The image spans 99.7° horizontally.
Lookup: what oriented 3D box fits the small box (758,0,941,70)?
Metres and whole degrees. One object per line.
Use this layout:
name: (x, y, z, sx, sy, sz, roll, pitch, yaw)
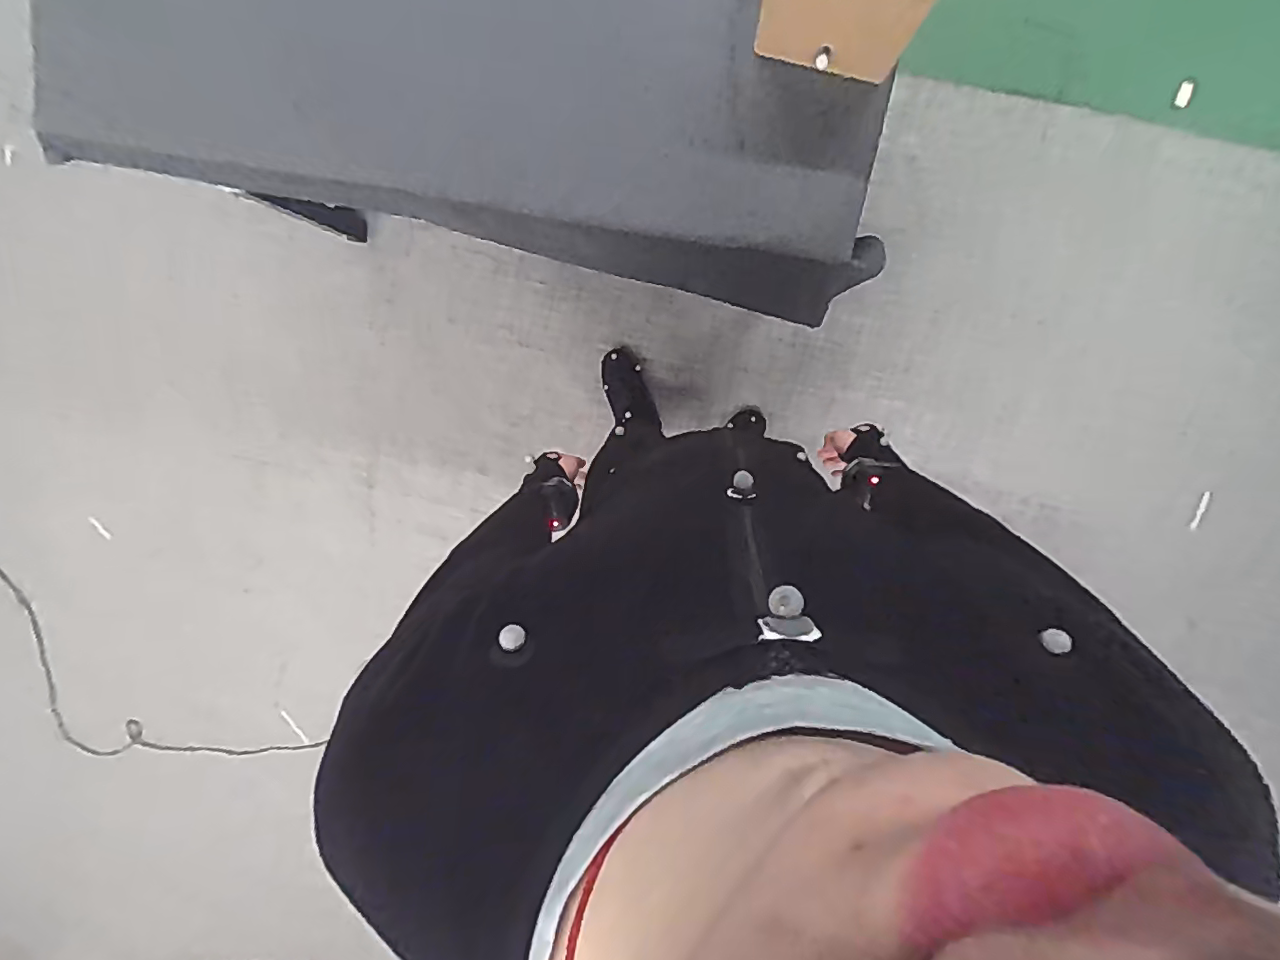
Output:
small box: (0.248, -0.601, 0.602, 0.179, 0.176, 0.168, 15, 103, 0)
